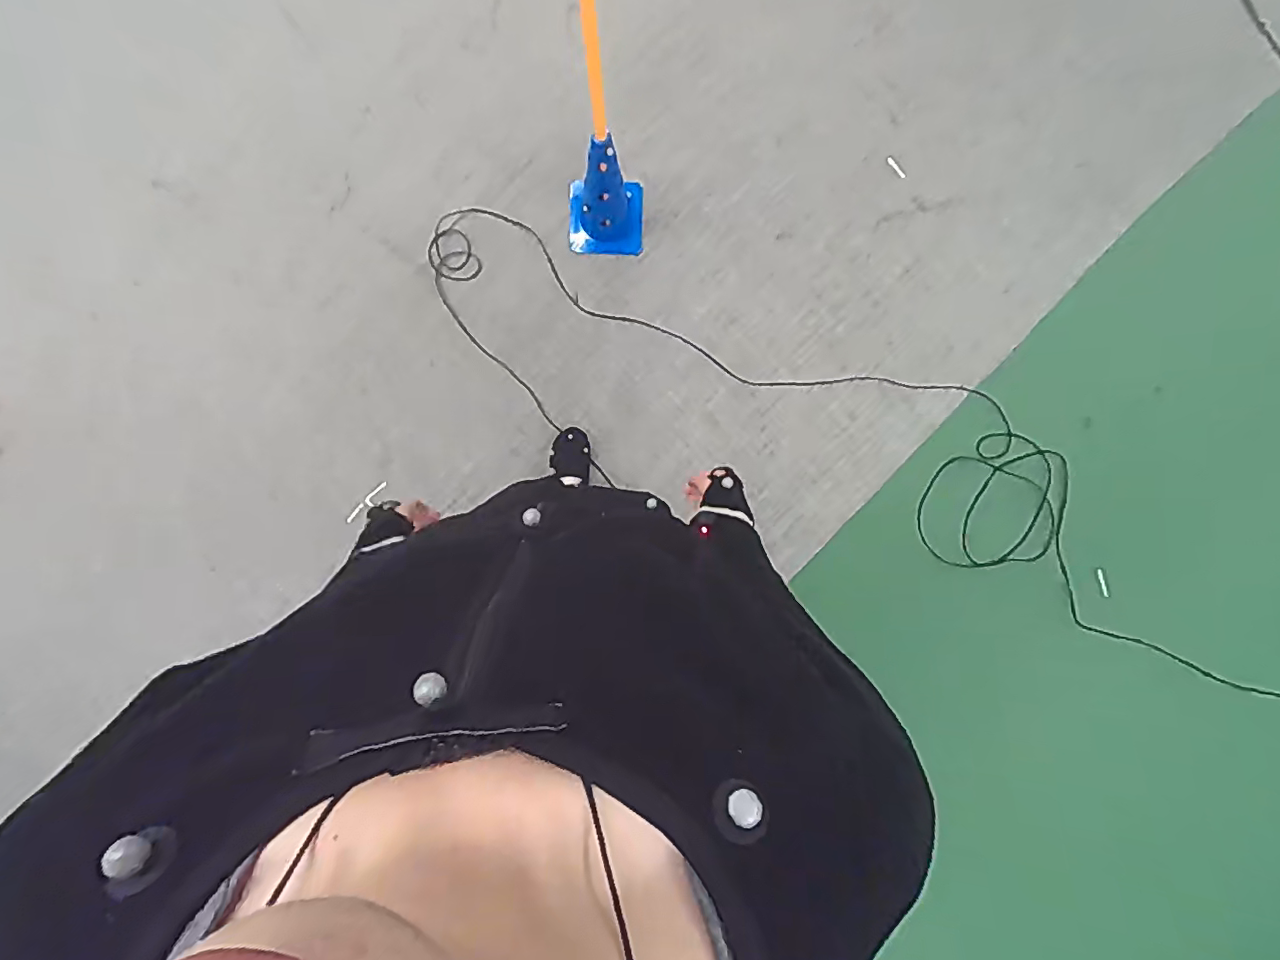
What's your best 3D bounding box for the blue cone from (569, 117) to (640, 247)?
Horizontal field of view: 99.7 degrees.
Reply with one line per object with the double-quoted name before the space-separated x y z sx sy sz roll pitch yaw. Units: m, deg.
"blue cone" -0.088 -0.726 1.293 0.192 0.380 0.193 0 89 -3
